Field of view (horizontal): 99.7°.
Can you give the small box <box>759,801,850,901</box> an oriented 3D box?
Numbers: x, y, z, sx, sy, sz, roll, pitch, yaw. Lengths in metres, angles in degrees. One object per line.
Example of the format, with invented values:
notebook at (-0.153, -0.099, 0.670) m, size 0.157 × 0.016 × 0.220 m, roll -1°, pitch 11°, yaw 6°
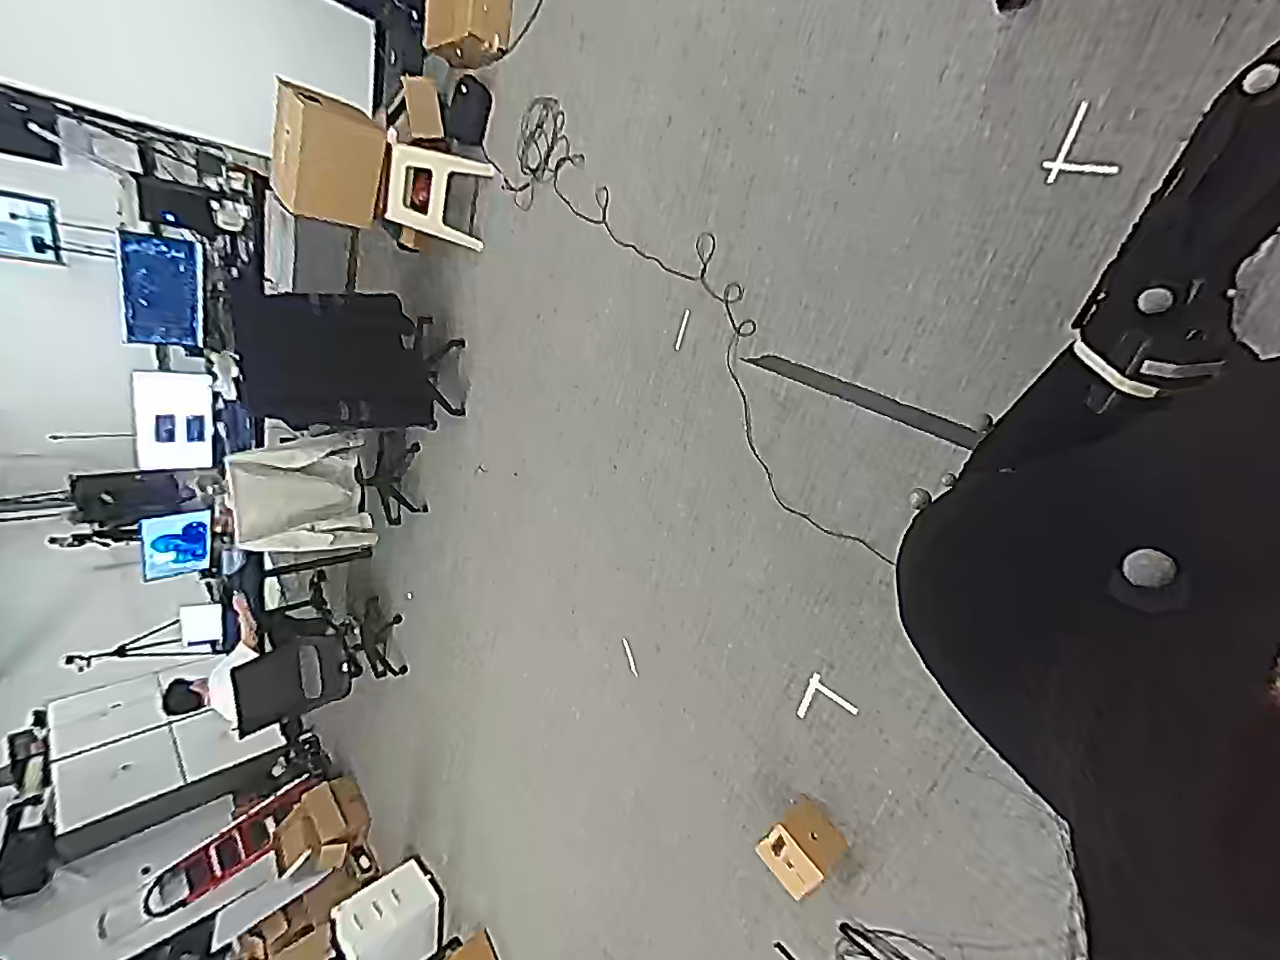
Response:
small box at (0.514, 1.145, 1.687) m, size 0.179 × 0.176 × 0.168 m, roll 43°, pitch 123°, yaw 29°
